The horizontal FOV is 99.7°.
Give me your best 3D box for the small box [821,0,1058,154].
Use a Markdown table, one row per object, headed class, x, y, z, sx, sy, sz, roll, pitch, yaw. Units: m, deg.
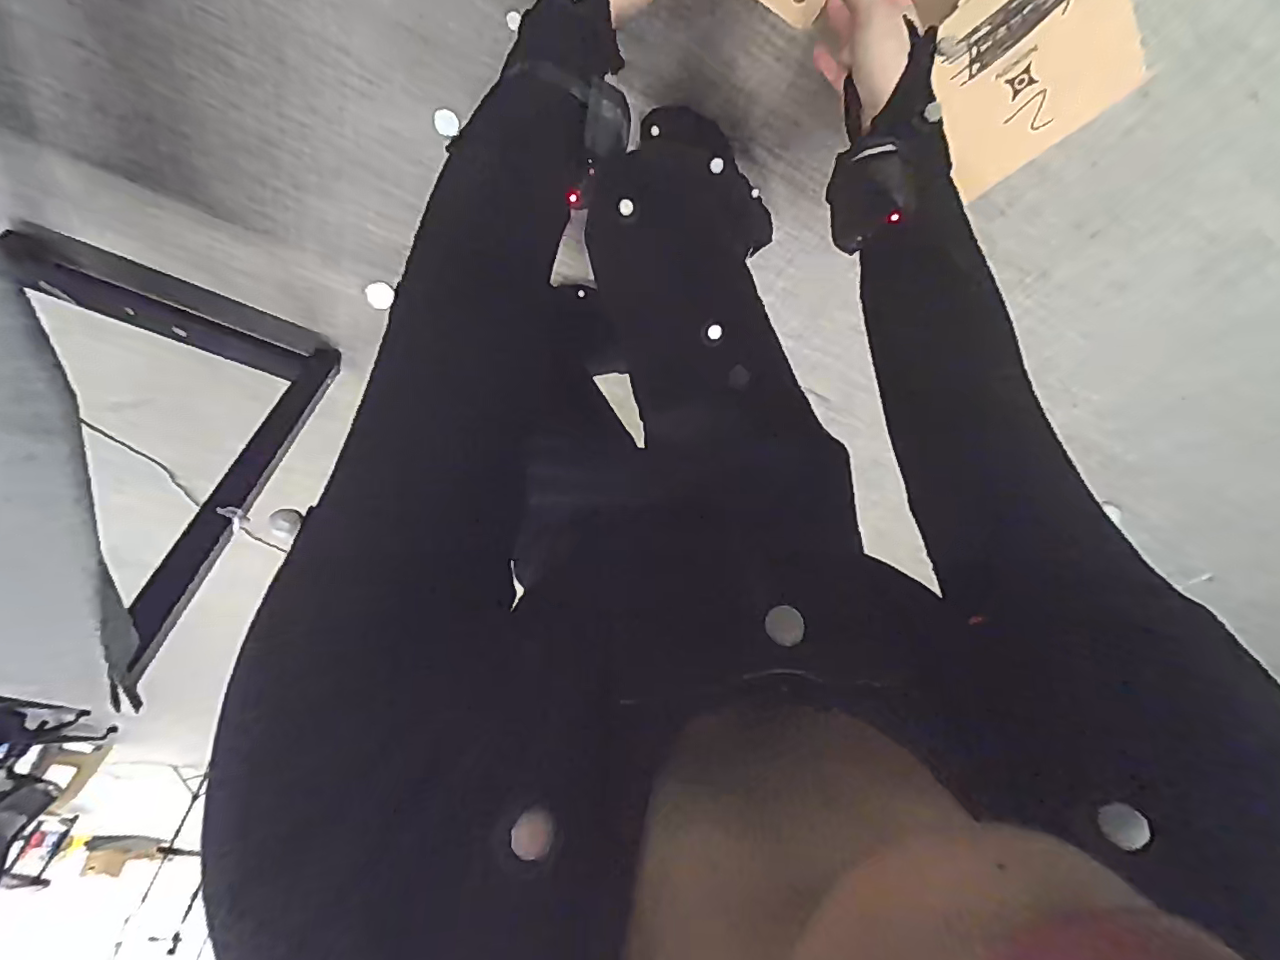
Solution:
| class | x | y | z | sx | sy | sz | roll | pitch | yaw |
| --- | --- | --- | --- | --- | --- | --- | --- | --- | --- |
| small box | 0.348 | -0.552 | 0.657 | 0.179 | 0.176 | 0.168 | 27 | 134 | -26 |
